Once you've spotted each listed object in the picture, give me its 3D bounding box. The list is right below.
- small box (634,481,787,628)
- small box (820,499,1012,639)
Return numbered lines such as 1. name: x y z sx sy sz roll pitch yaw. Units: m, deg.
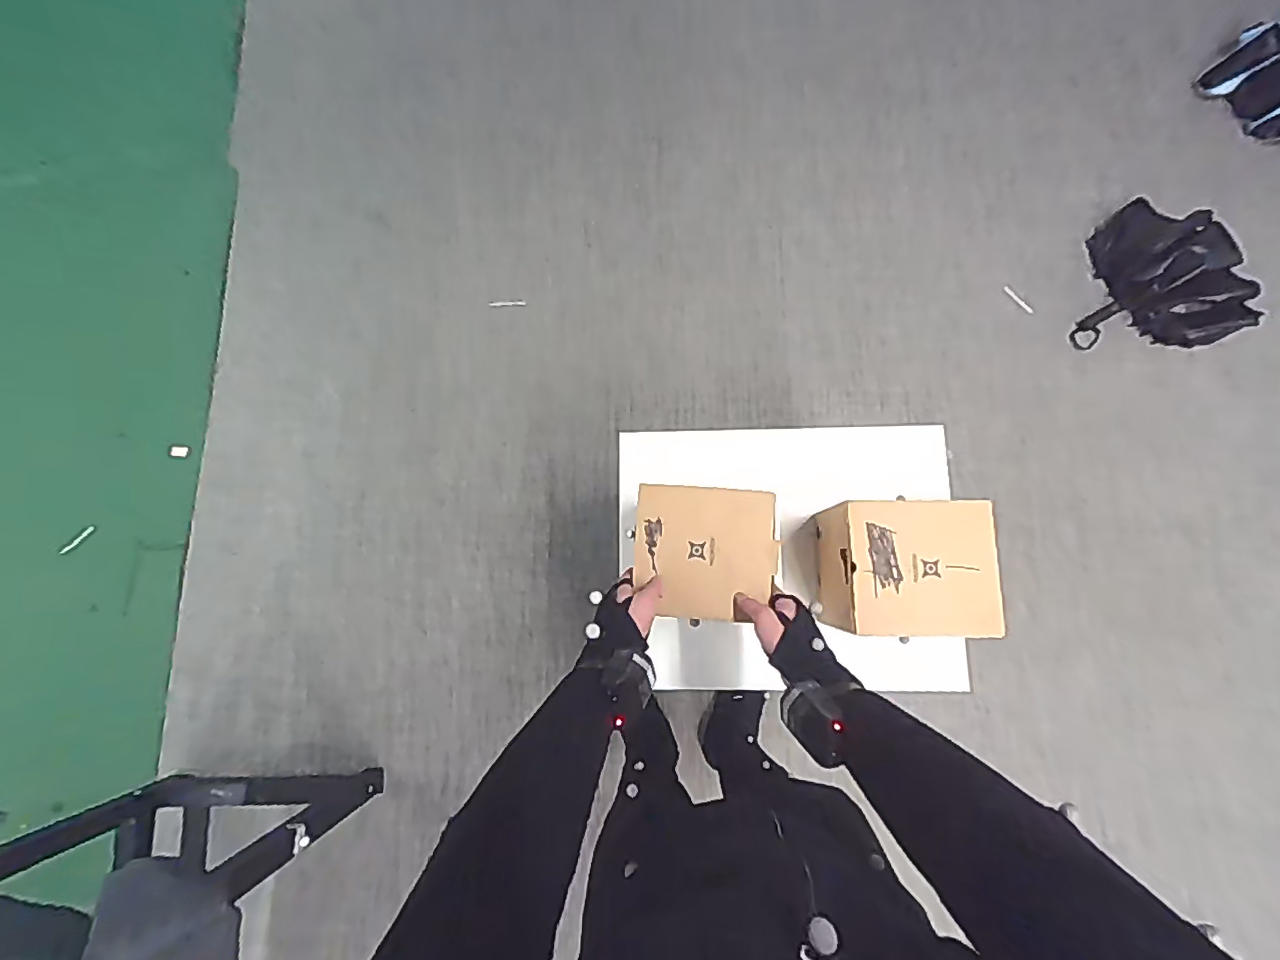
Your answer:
1. small box: 0.087 0.104 0.731 0.179 0.176 0.168 4 77 0
2. small box: 0.350 0.120 0.724 0.179 0.176 0.168 0 79 1
